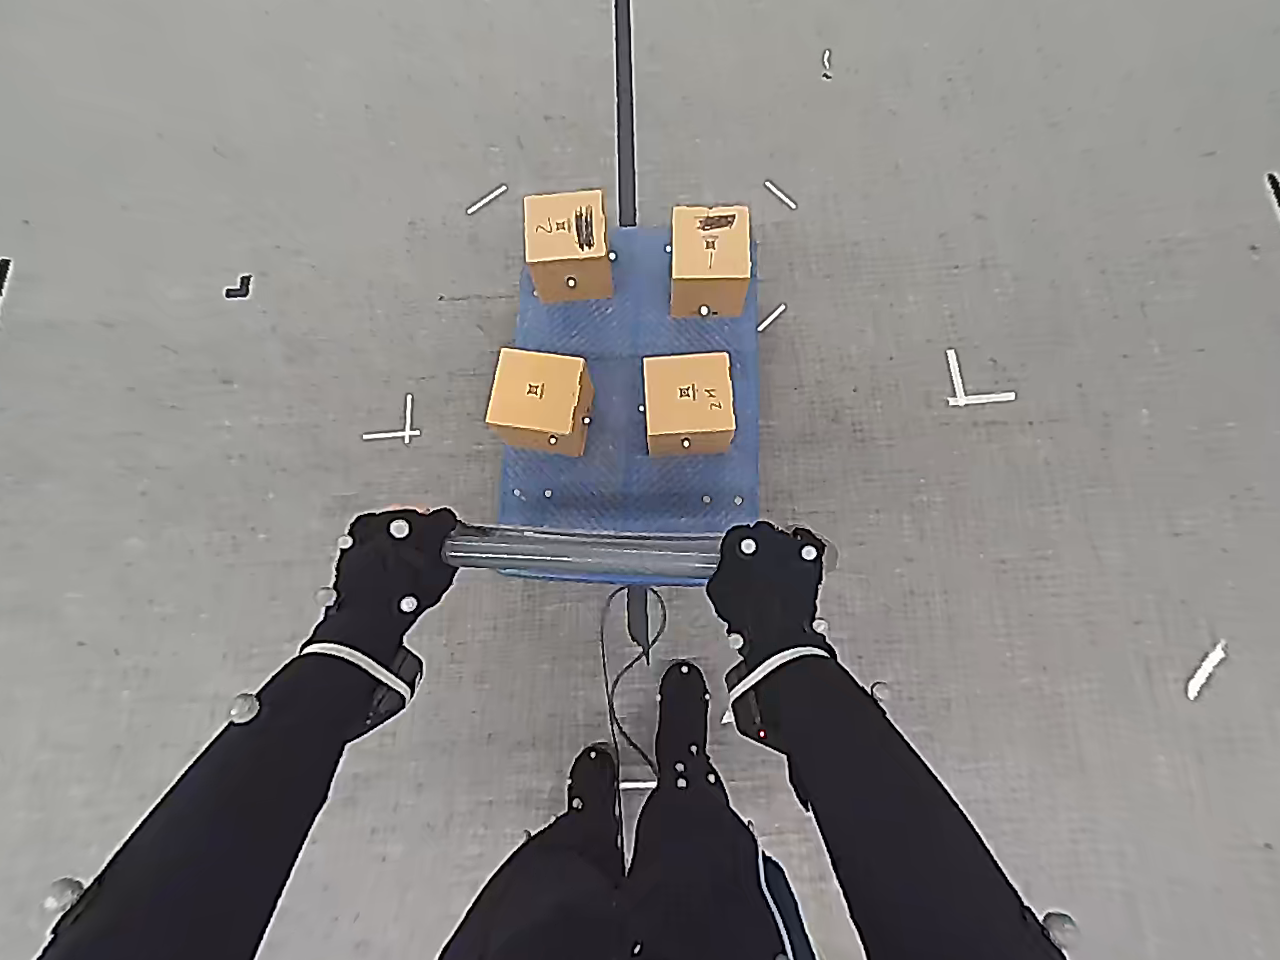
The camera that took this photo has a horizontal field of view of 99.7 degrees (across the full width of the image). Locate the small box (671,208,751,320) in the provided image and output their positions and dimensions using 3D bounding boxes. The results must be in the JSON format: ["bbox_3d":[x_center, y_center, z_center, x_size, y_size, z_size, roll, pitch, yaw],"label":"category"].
[{"bbox_3d":[0.157,-0.486,1.230,0.168,0.176,0.179,1,78,3],"label":"small box"}]

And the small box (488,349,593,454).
[{"bbox_3d":[-0.206,-0.164,1.171,0.179,0.176,0.168,8,77,2],"label":"small box"}]

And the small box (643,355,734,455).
[{"bbox_3d":[0.100,-0.153,1.157,0.179,0.176,0.168,-3,78,1],"label":"small box"}]
